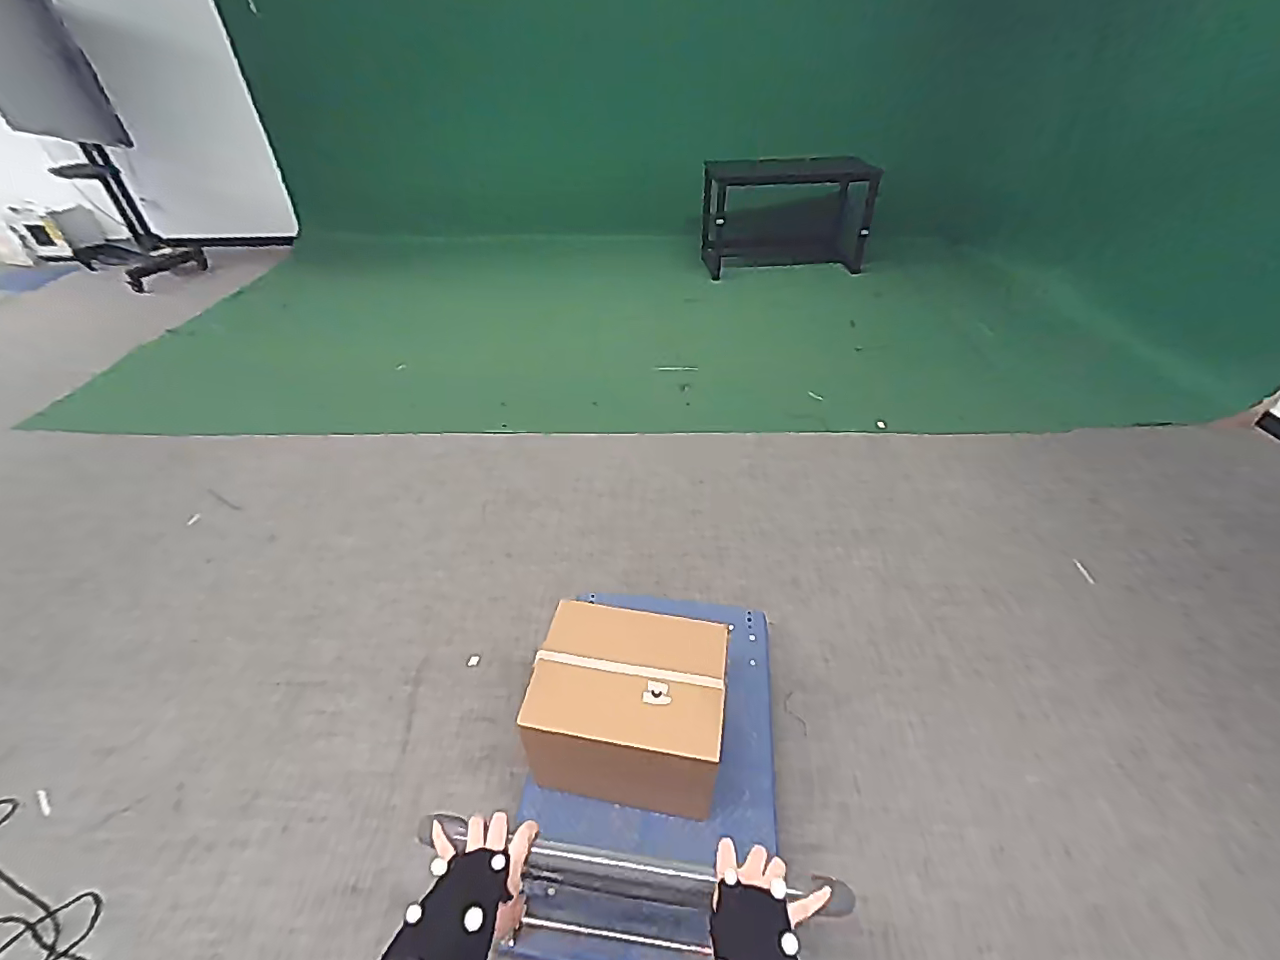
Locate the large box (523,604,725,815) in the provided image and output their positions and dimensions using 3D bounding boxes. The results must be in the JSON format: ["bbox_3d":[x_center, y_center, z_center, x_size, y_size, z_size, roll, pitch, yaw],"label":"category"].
[{"bbox_3d":[-0.024,0.533,1.270,0.408,0.320,0.320,7,40,7],"label":"large box"}]
